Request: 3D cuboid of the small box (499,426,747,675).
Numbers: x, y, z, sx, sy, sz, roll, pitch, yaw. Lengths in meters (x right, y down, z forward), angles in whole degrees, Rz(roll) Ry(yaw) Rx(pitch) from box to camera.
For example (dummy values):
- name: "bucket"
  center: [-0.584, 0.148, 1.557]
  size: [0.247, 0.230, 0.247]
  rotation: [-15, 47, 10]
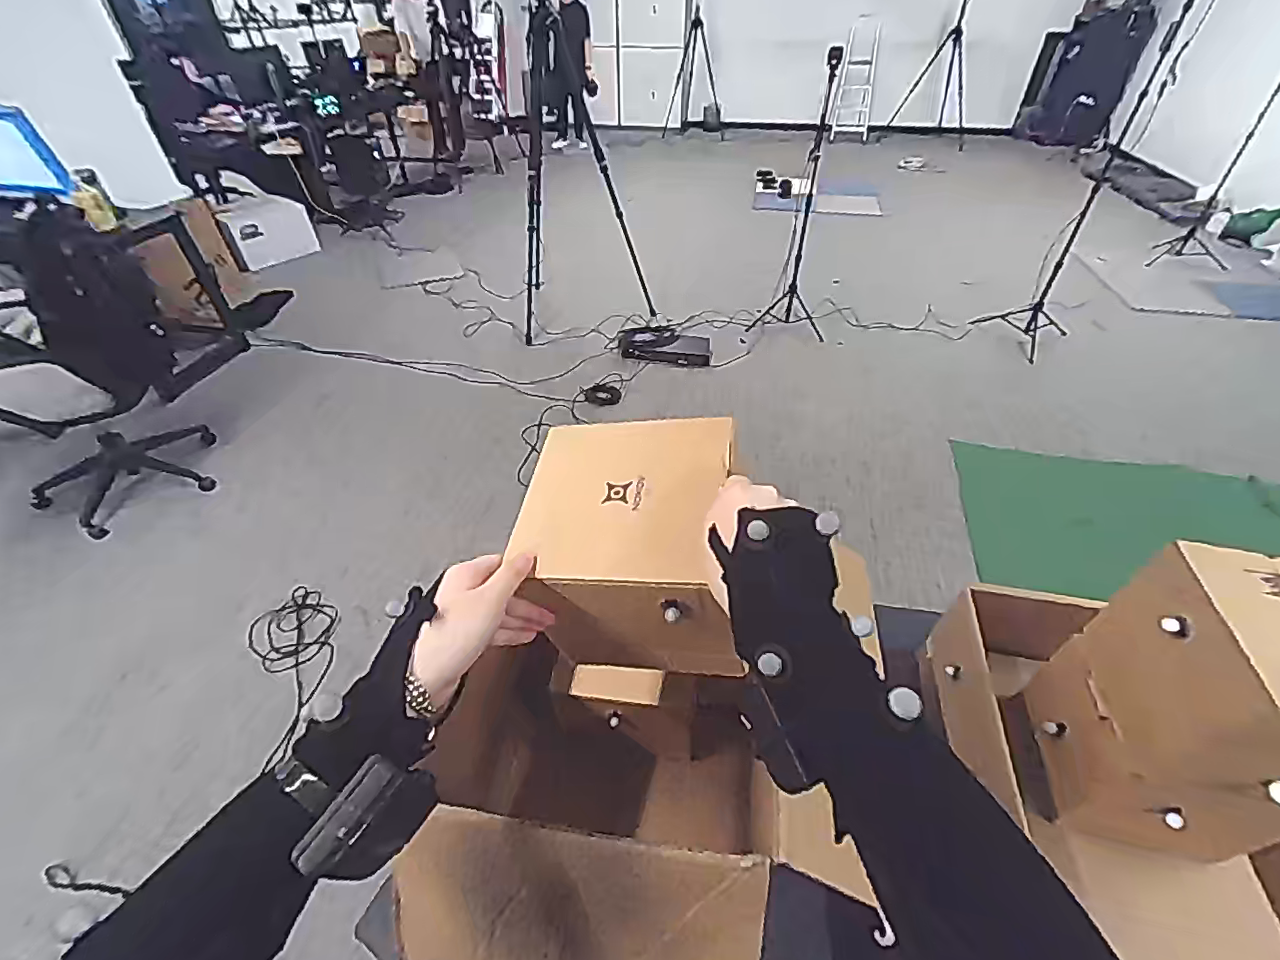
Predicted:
- name: "small box"
  center: [0.003, 0.069, 0.506]
  size: [0.179, 0.176, 0.168]
  rotation: [-2, 50, 15]

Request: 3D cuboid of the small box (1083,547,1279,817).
- name: "small box"
  center: [0.583, 0.194, 0.522]
  size: [0.168, 0.176, 0.179]
  rotation: [8, 44, 10]
